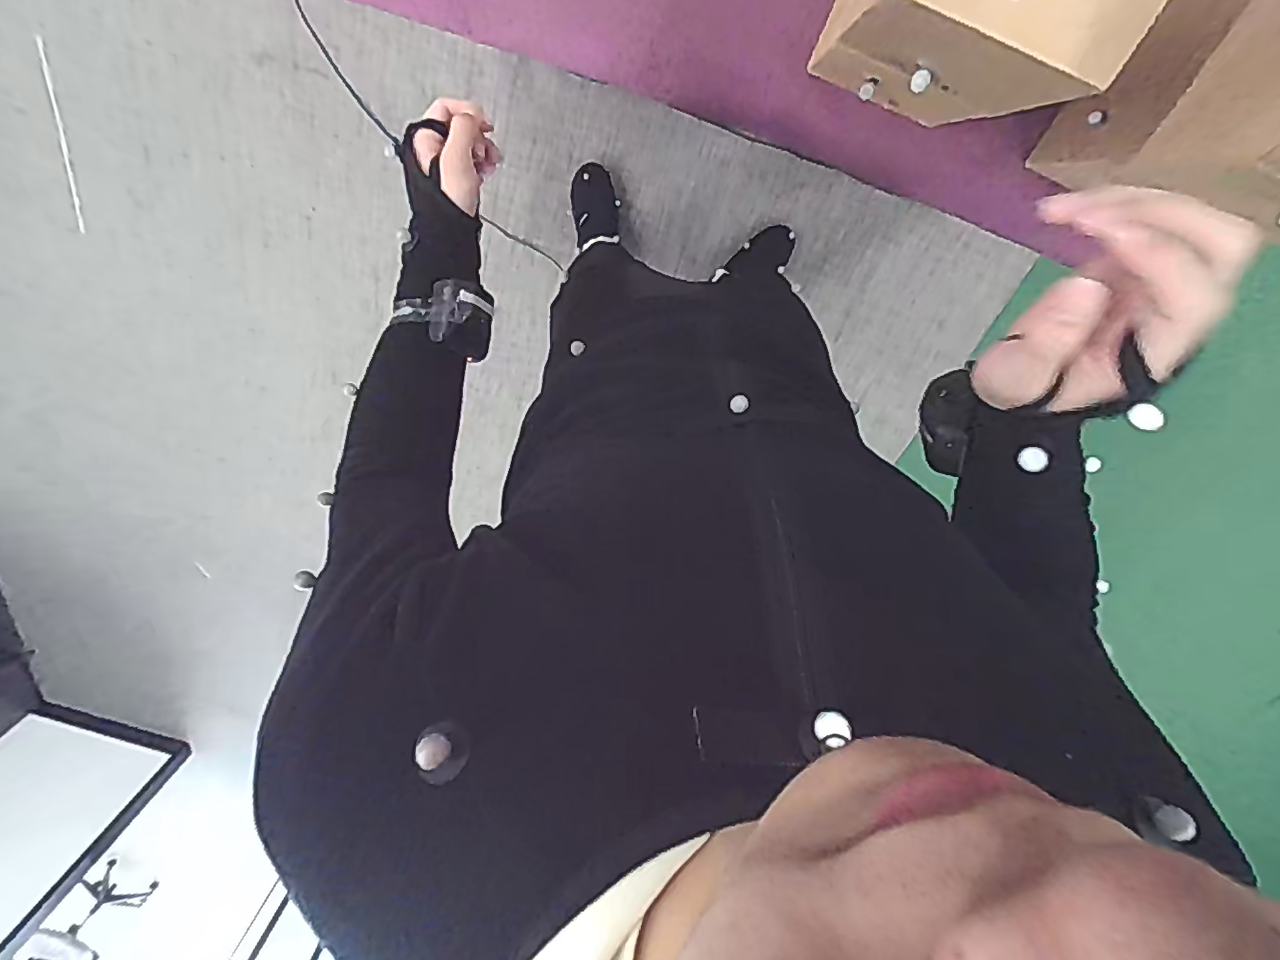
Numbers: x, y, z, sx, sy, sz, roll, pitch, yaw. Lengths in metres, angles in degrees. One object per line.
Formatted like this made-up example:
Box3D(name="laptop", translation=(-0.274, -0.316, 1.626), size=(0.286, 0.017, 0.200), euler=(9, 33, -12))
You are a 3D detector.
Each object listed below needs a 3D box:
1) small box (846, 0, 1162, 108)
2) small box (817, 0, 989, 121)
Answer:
Box3D(name="small box", translation=(0.269, -0.394, 0.377), size=(0.168, 0.176, 0.179), euler=(22, 121, -4))
Box3D(name="small box", translation=(0.287, -0.474, 0.519), size=(0.168, 0.176, 0.179), euler=(21, 119, -4))
